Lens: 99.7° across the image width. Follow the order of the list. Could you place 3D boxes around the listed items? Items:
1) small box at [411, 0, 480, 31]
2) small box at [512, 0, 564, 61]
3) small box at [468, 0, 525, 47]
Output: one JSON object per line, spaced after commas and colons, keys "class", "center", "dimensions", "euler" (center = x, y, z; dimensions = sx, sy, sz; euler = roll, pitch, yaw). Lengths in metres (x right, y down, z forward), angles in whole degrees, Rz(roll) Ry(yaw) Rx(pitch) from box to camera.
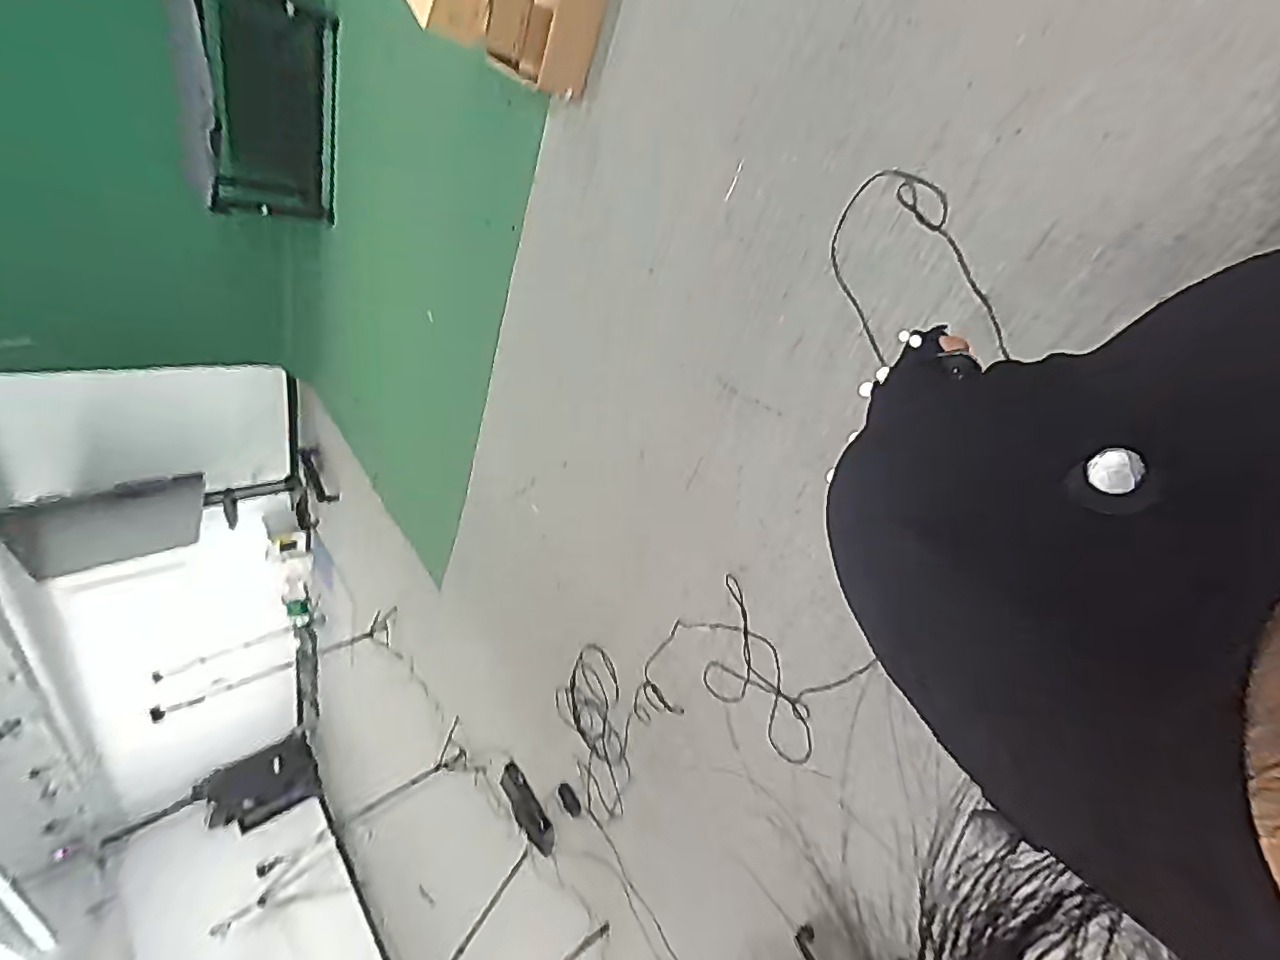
{"class": "small box", "center": [-0.612, -1.549, 1.679], "dimensions": [0.168, 0.176, 0.179], "euler": [-39, 73, 42]}
{"class": "small box", "center": [-0.400, -1.625, 1.916], "dimensions": [0.179, 0.176, 0.168], "euler": [43, 128, 27]}
{"class": "small box", "center": [-0.507, -1.583, 1.799], "dimensions": [0.179, 0.176, 0.168], "euler": [45, 127, 27]}
